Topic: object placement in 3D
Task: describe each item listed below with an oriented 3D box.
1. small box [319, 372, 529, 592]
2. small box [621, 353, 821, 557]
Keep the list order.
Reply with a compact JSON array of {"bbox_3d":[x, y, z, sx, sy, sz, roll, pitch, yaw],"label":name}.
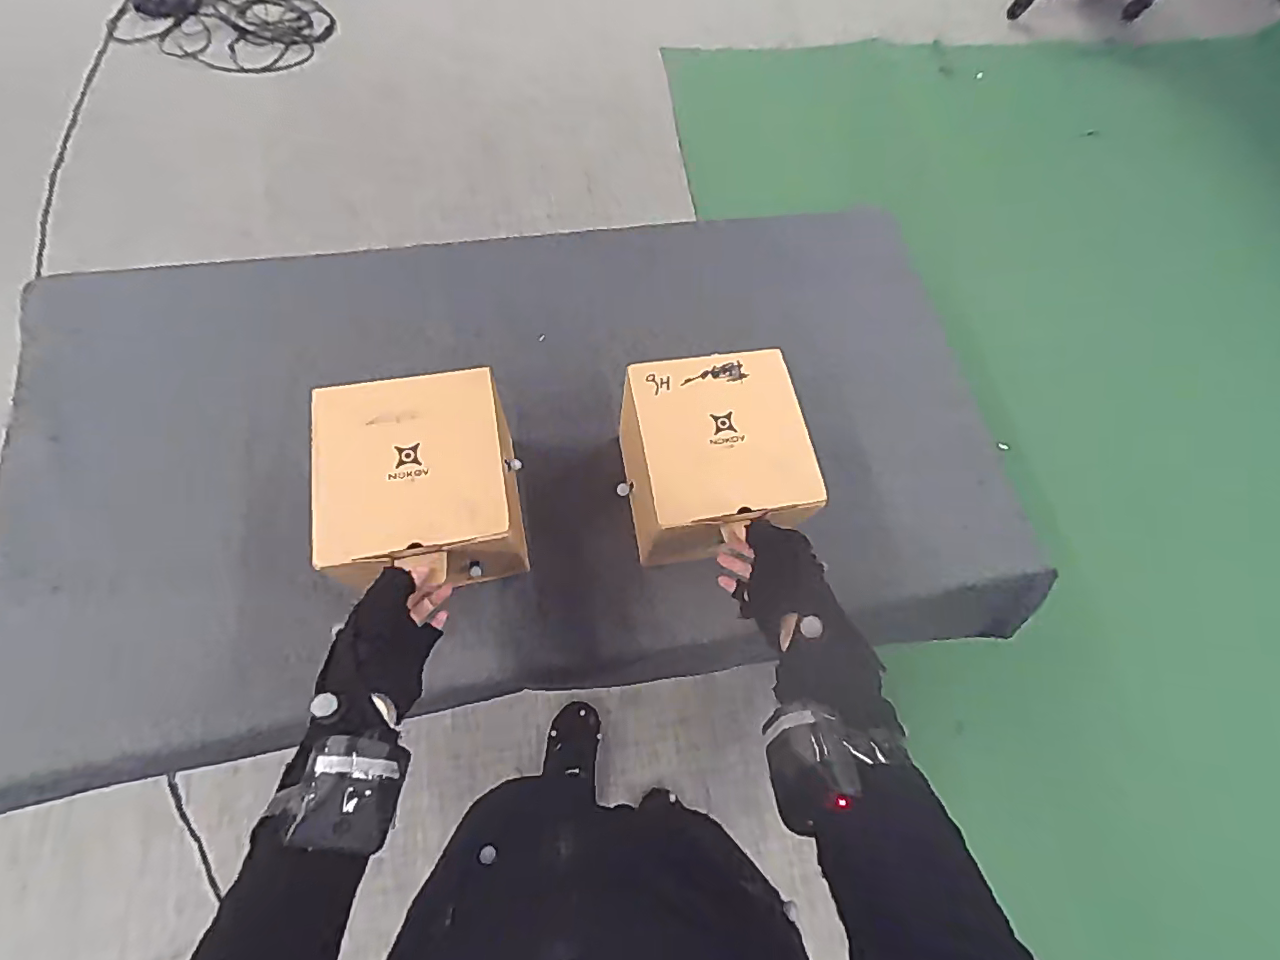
[{"bbox_3d":[-0.216,0.013,0.573,0.168,0.176,0.179,-10,69,-10],"label":"small box"},{"bbox_3d":[0.075,-0.017,0.610,0.168,0.176,0.179,-8,71,-9],"label":"small box"}]
